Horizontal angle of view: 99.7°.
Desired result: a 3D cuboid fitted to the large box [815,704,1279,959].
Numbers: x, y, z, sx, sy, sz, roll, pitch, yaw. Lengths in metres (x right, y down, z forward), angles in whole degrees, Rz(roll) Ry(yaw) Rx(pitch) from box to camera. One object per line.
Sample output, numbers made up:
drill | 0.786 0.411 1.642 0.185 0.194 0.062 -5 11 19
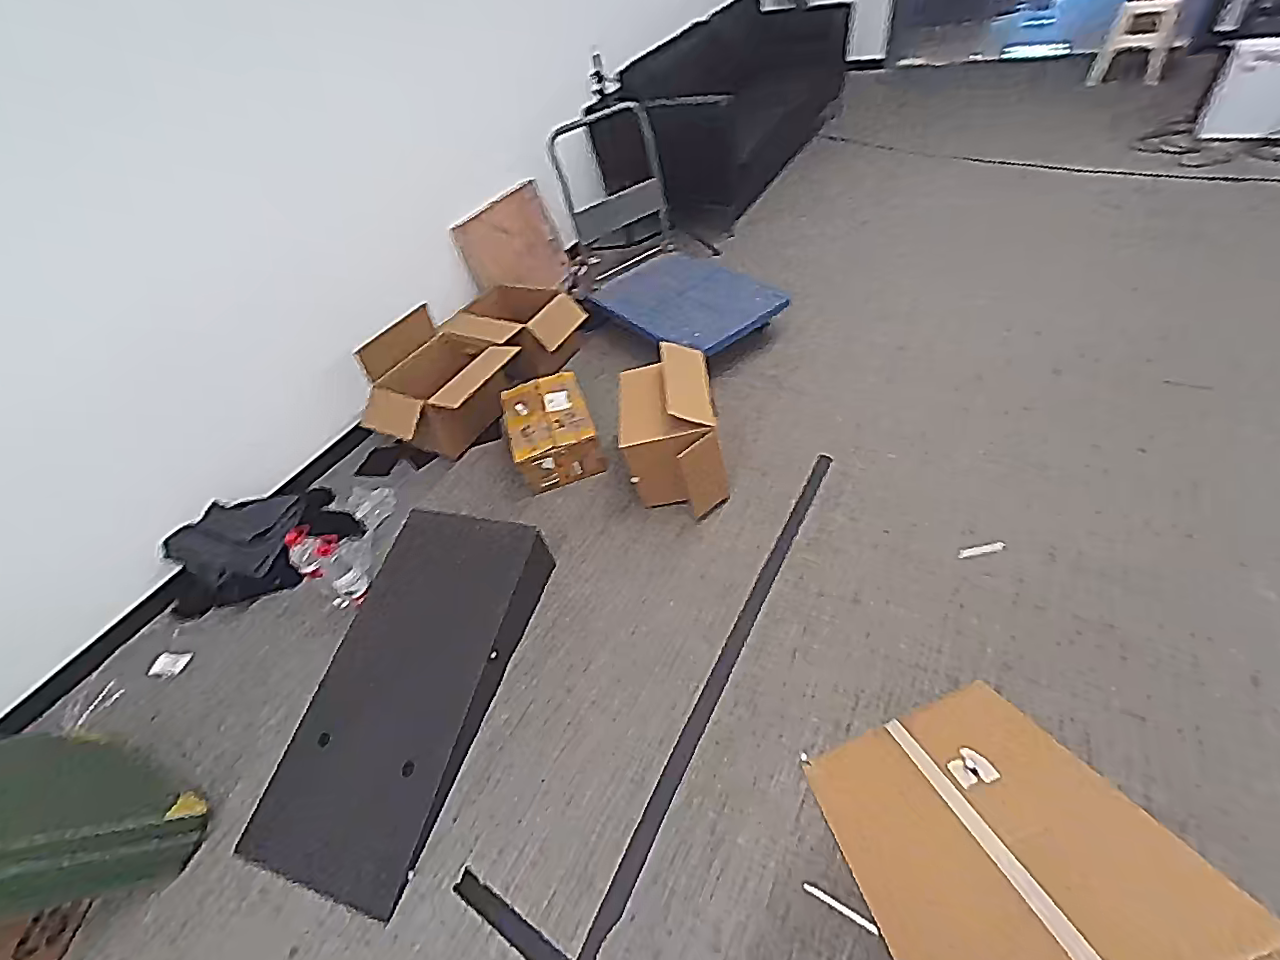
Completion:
large box | 0.481 0.572 0.670 0.320 0.320 0.408 -25 7 2
